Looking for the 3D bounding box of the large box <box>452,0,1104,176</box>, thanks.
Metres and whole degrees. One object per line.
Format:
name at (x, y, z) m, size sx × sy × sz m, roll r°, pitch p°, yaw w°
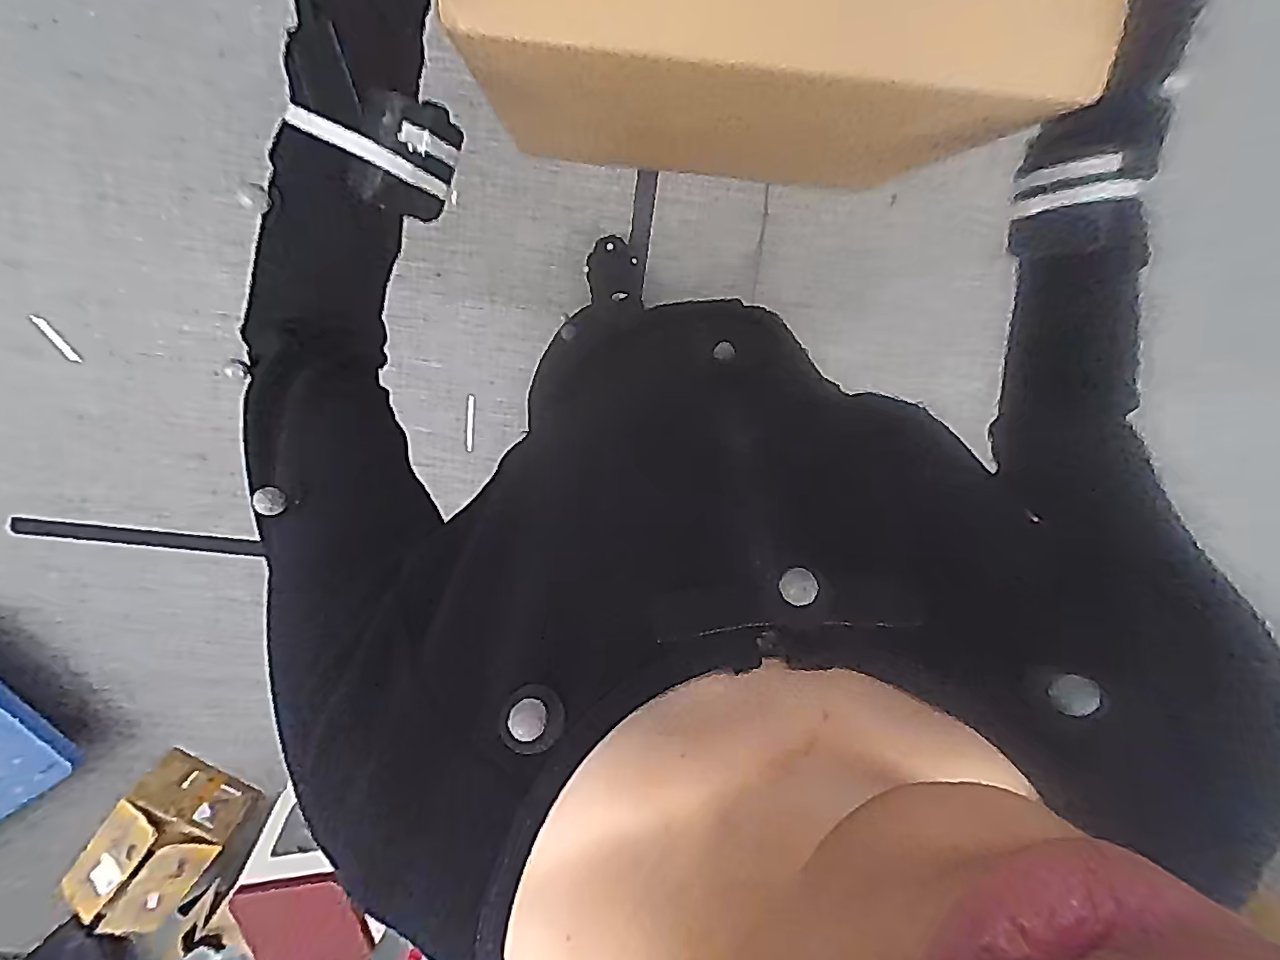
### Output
large box at (0.083, -0.455, 0.423) m, size 0.408 × 0.320 × 0.320 m, roll 2°, pitch 109°, yaw -5°
